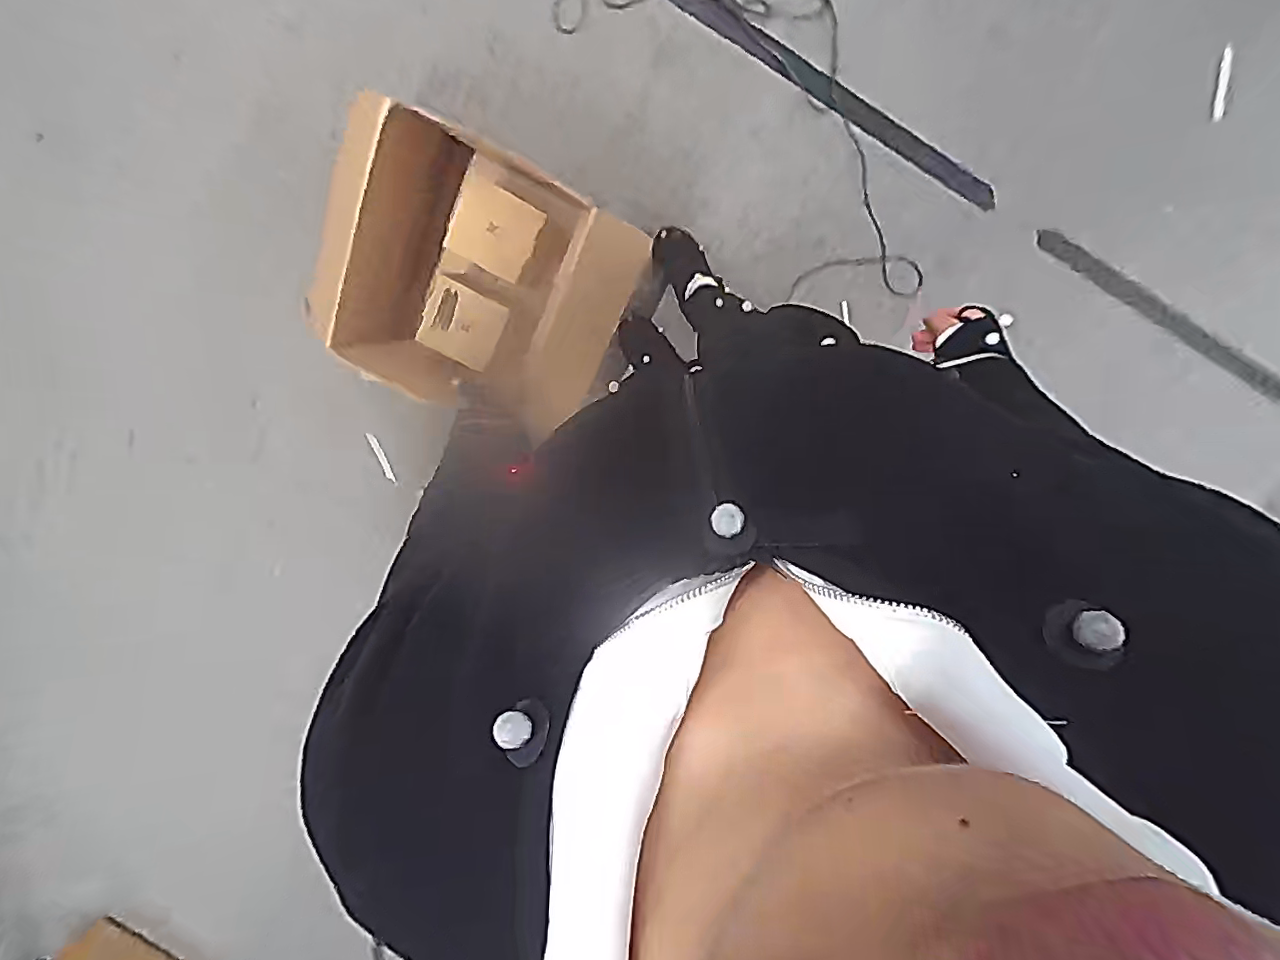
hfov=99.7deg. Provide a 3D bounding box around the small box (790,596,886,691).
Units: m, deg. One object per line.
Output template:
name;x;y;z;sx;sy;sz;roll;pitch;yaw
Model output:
small box;0.569;0.469;1.575;0.179;0.176;0.168;28;107;-8

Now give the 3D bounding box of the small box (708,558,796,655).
small box;0.307;0.351;1.536;0.168;0.176;0.179;29;107;-10
